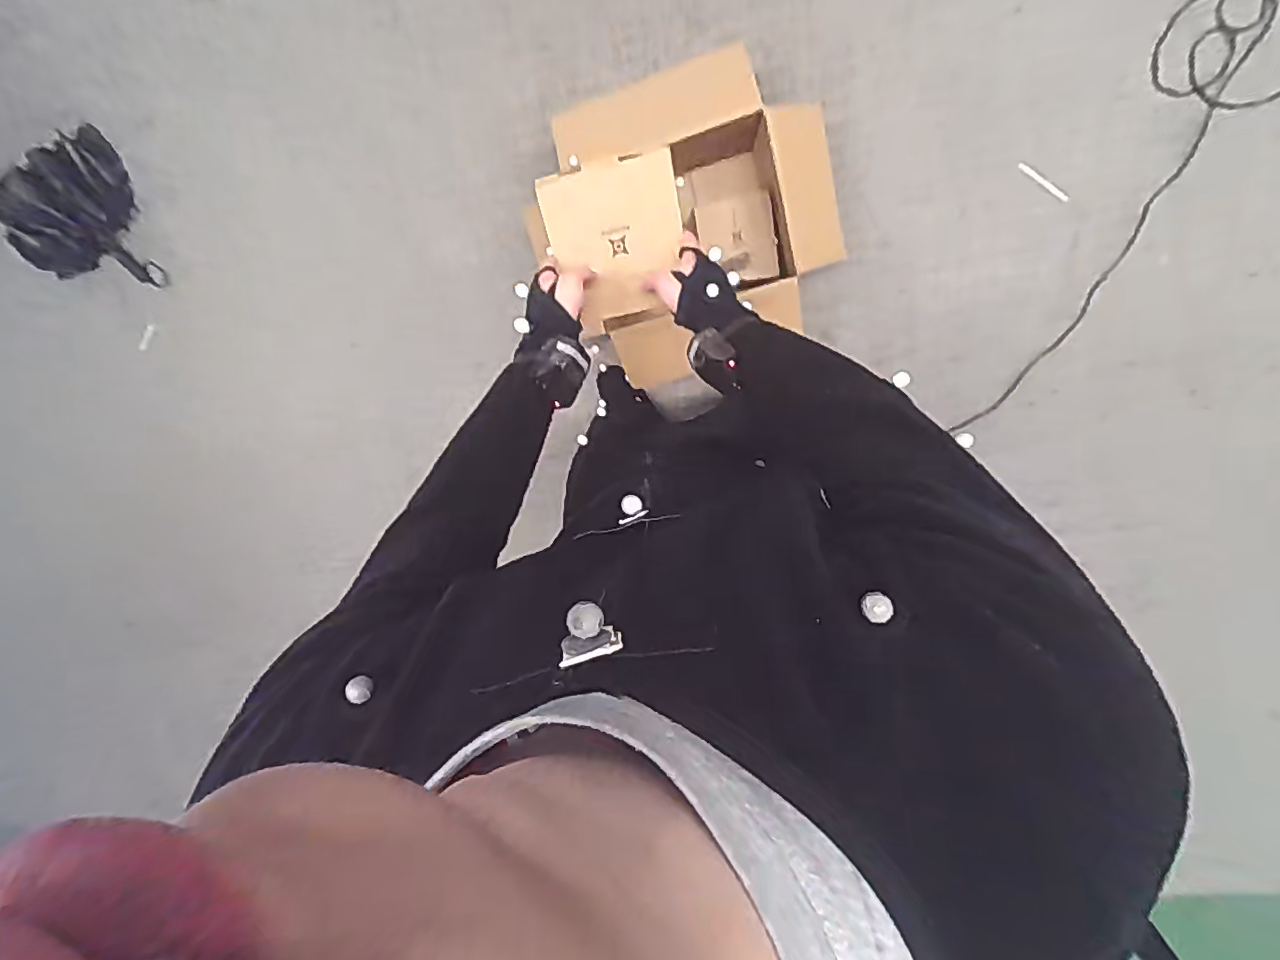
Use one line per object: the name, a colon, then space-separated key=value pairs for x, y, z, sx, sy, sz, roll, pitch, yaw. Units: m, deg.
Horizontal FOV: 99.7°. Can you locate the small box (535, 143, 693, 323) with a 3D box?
small box: x=-0.029 y=-0.337 z=0.733 sx=0.168 sy=0.176 sz=0.179 roll=-12 pitch=122 yaw=7
